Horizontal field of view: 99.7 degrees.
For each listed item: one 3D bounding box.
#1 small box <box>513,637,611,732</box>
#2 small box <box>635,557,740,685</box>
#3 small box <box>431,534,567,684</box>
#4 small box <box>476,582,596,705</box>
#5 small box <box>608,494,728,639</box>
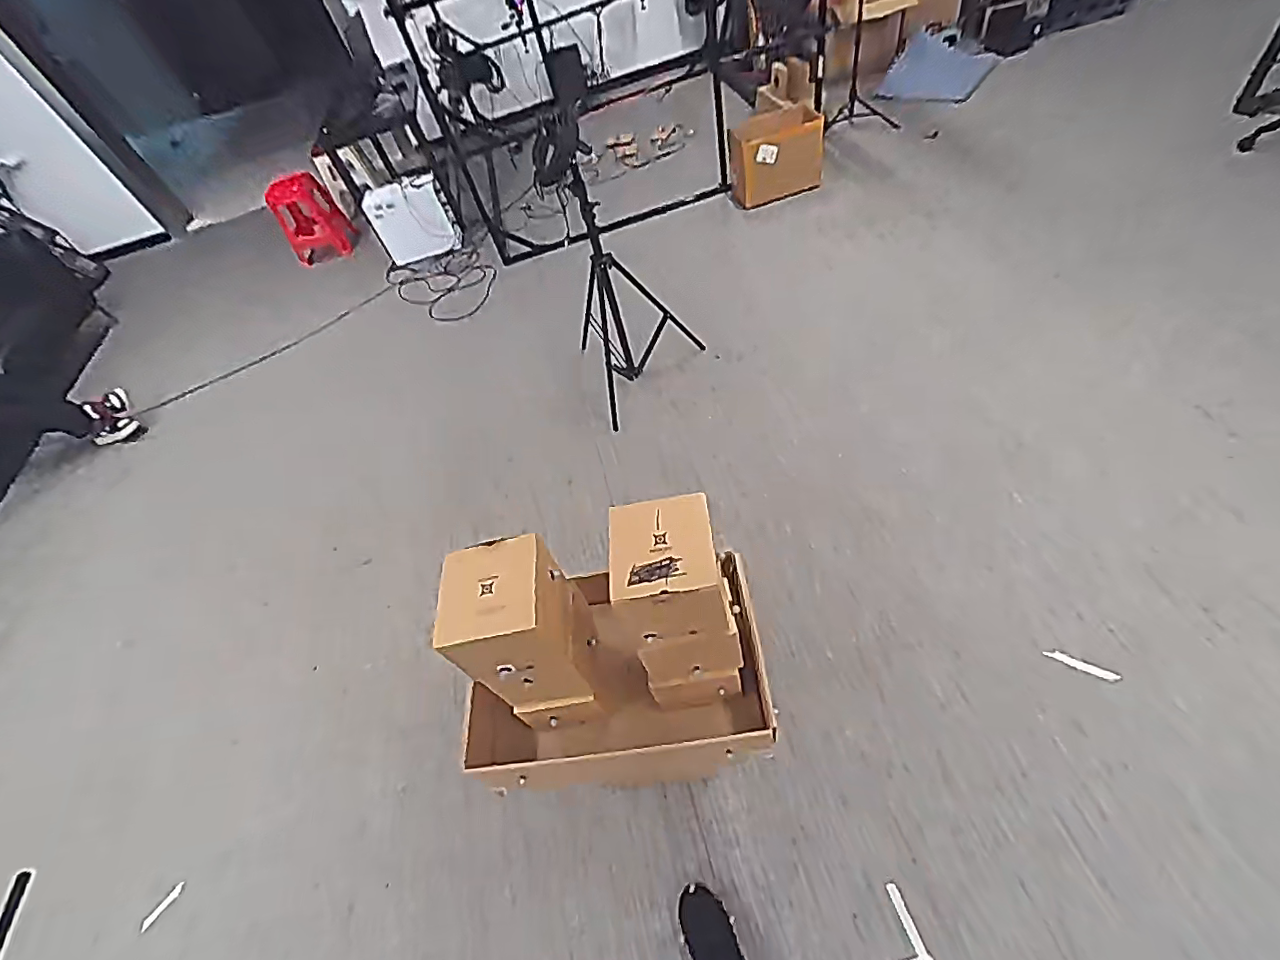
[{"bbox_3d":[-0.163,0.427,1.163,0.168,0.176,0.179,-11,50,4],"label":"small box"},{"bbox_3d":[0.083,0.264,1.008,0.179,0.176,0.168,-13,51,3],"label":"small box"},{"bbox_3d":[-0.227,0.220,0.916,0.168,0.176,0.179,-13,49,5],"label":"small box"},{"bbox_3d":[-0.191,0.320,1.041,0.179,0.176,0.168,-10,50,5],"label":"small box"},{"bbox_3d":[0.047,0.151,0.893,0.168,0.176,0.179,-10,50,8],"label":"small box"}]
